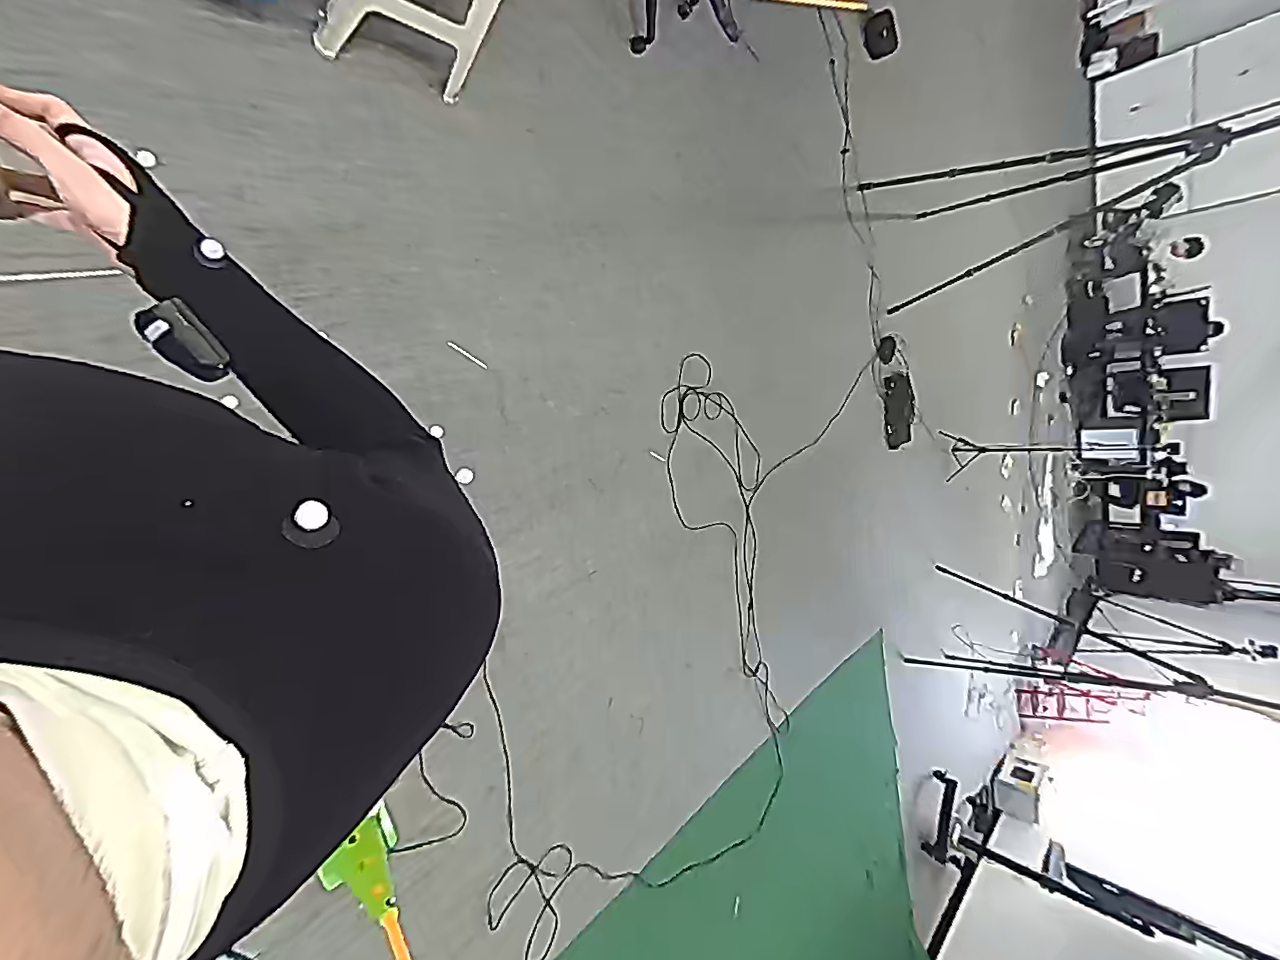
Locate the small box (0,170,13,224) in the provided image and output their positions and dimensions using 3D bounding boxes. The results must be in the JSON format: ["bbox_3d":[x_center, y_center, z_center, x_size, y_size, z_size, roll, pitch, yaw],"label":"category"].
[{"bbox_3d":[-0.542,-0.274,0.329,0.168,0.176,0.179,-18,106,-40],"label":"small box"}]

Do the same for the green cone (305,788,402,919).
[{"bbox_3d":[-0.715,1.032,1.428,0.202,0.368,0.200,-24,108,-39],"label":"green cone"}]
